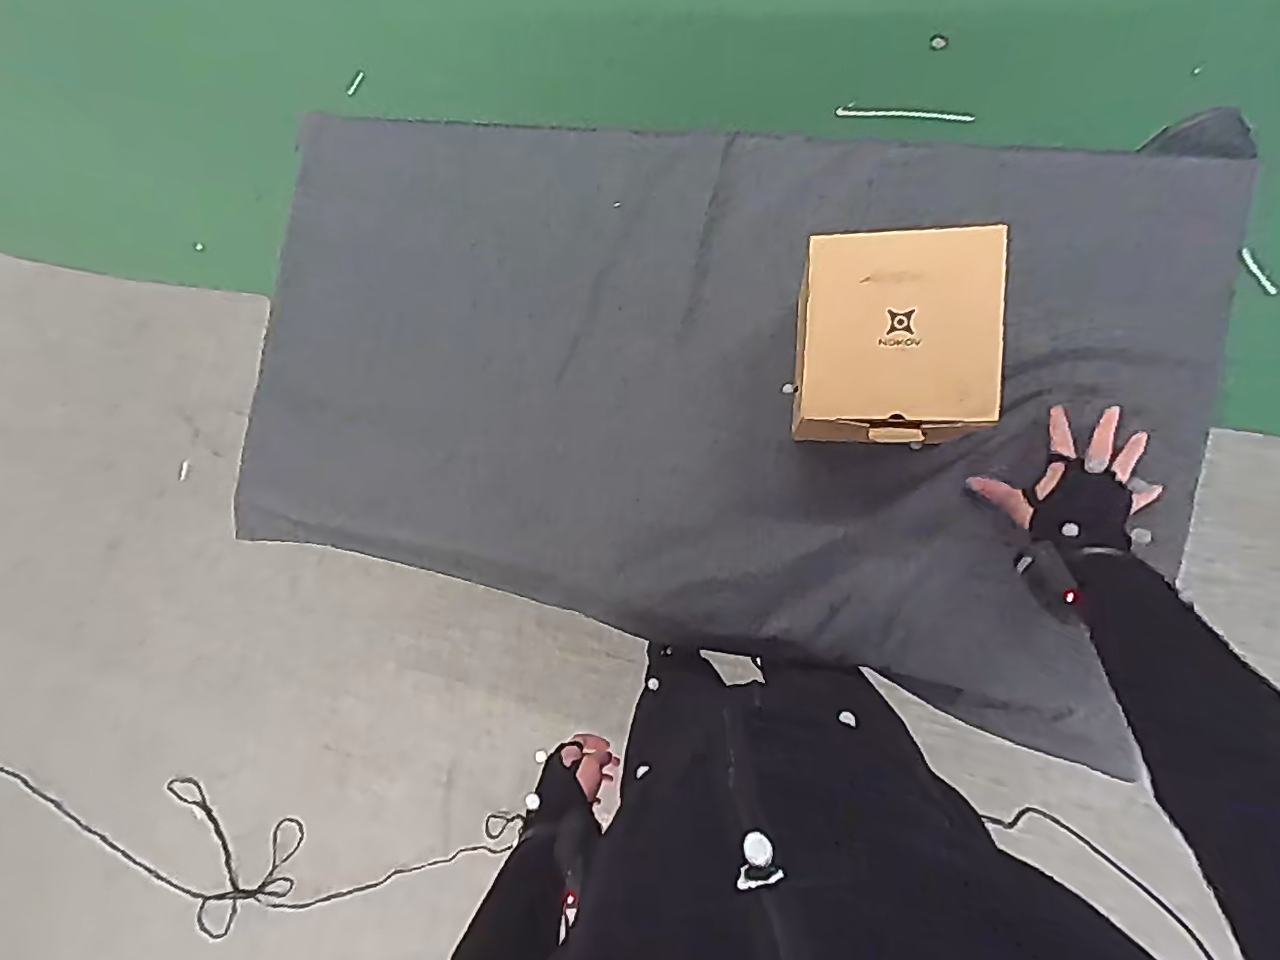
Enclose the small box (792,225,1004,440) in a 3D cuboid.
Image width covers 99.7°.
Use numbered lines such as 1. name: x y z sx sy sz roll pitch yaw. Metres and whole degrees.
1. small box: 0.251 -0.137 0.565 0.168 0.176 0.179 3 87 12
